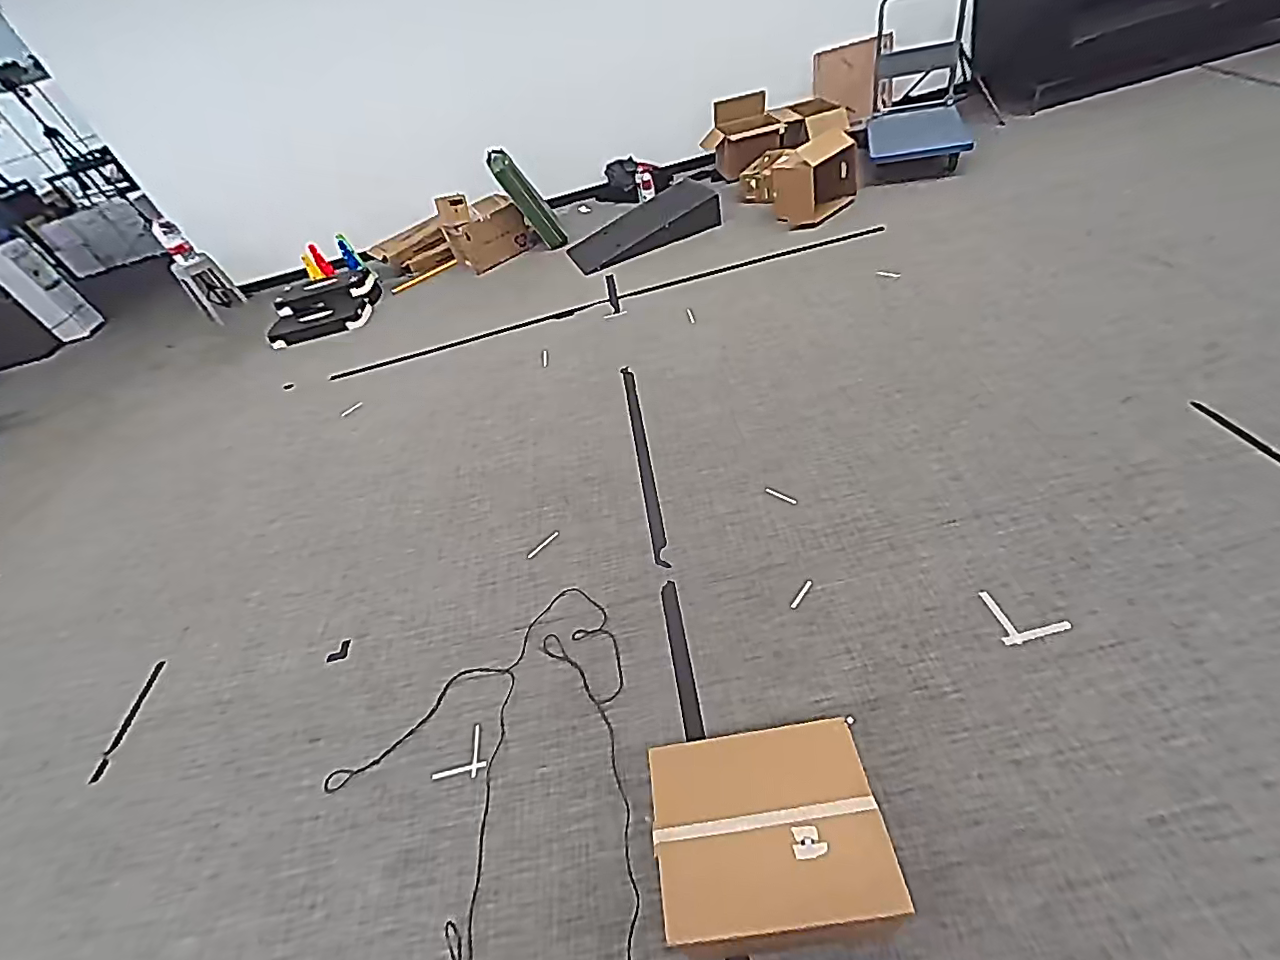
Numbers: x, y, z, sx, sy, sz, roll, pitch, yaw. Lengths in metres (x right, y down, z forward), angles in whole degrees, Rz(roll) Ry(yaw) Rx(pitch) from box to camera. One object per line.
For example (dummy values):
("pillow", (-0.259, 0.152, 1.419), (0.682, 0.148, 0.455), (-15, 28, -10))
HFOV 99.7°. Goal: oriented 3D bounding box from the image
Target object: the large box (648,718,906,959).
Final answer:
("large box", (0.251, 0.729, 1.089), (0.408, 0.320, 0.320), (-11, 44, 4))
